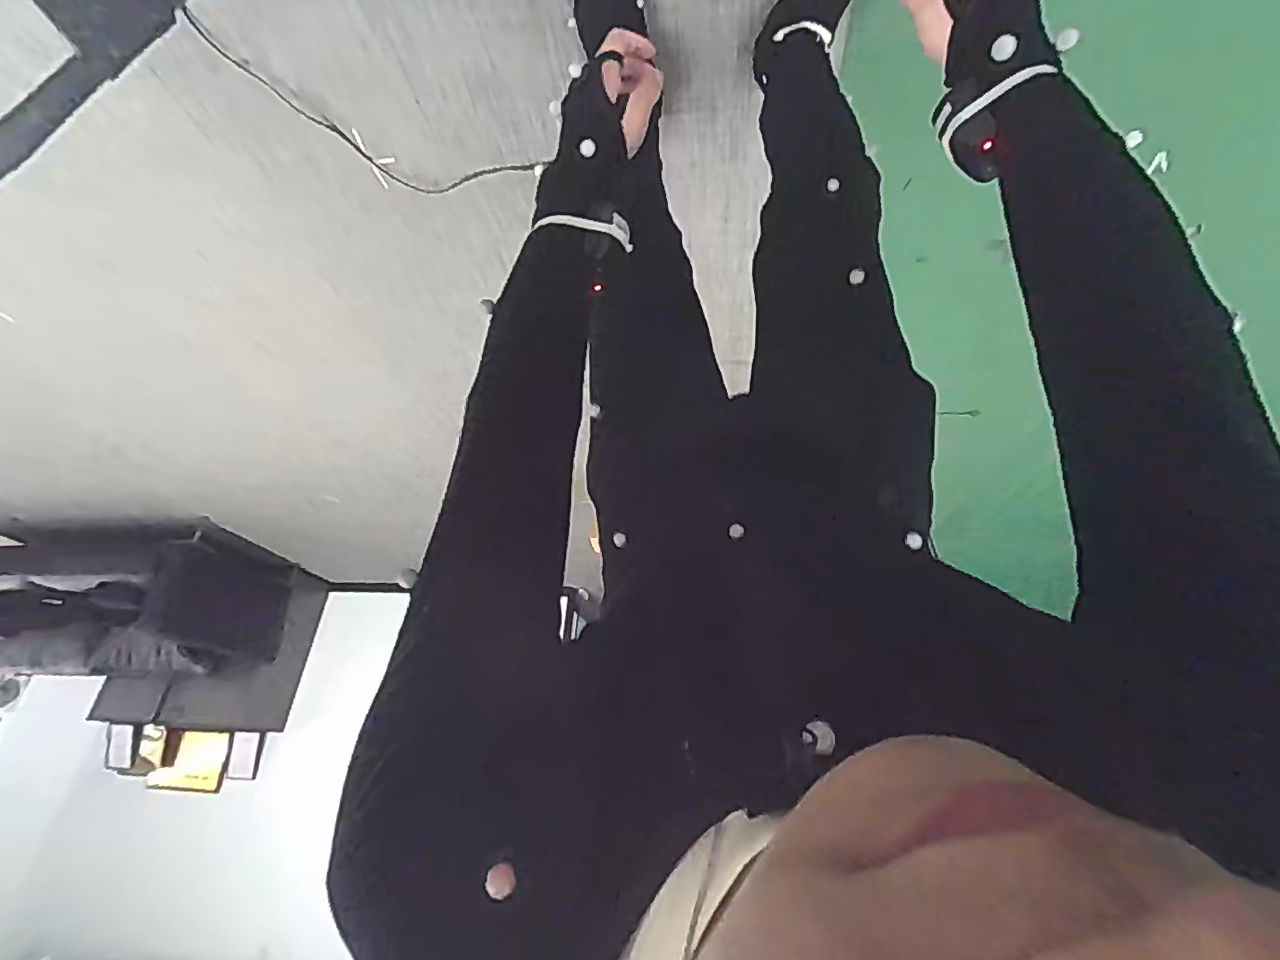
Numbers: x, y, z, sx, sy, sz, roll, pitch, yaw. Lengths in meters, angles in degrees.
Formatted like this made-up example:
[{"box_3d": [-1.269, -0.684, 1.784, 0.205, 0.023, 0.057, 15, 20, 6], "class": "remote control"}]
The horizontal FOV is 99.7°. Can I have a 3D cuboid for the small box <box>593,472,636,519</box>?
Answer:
[{"box_3d": [-0.111, 0.073, 2.424, 0.179, 0.176, 0.168, 2, 151, 4], "class": "small box"}]

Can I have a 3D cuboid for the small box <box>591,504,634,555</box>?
[{"box_3d": [-0.117, 0.215, 2.342, 0.168, 0.176, 0.179, 2, 150, 5], "class": "small box"}]
